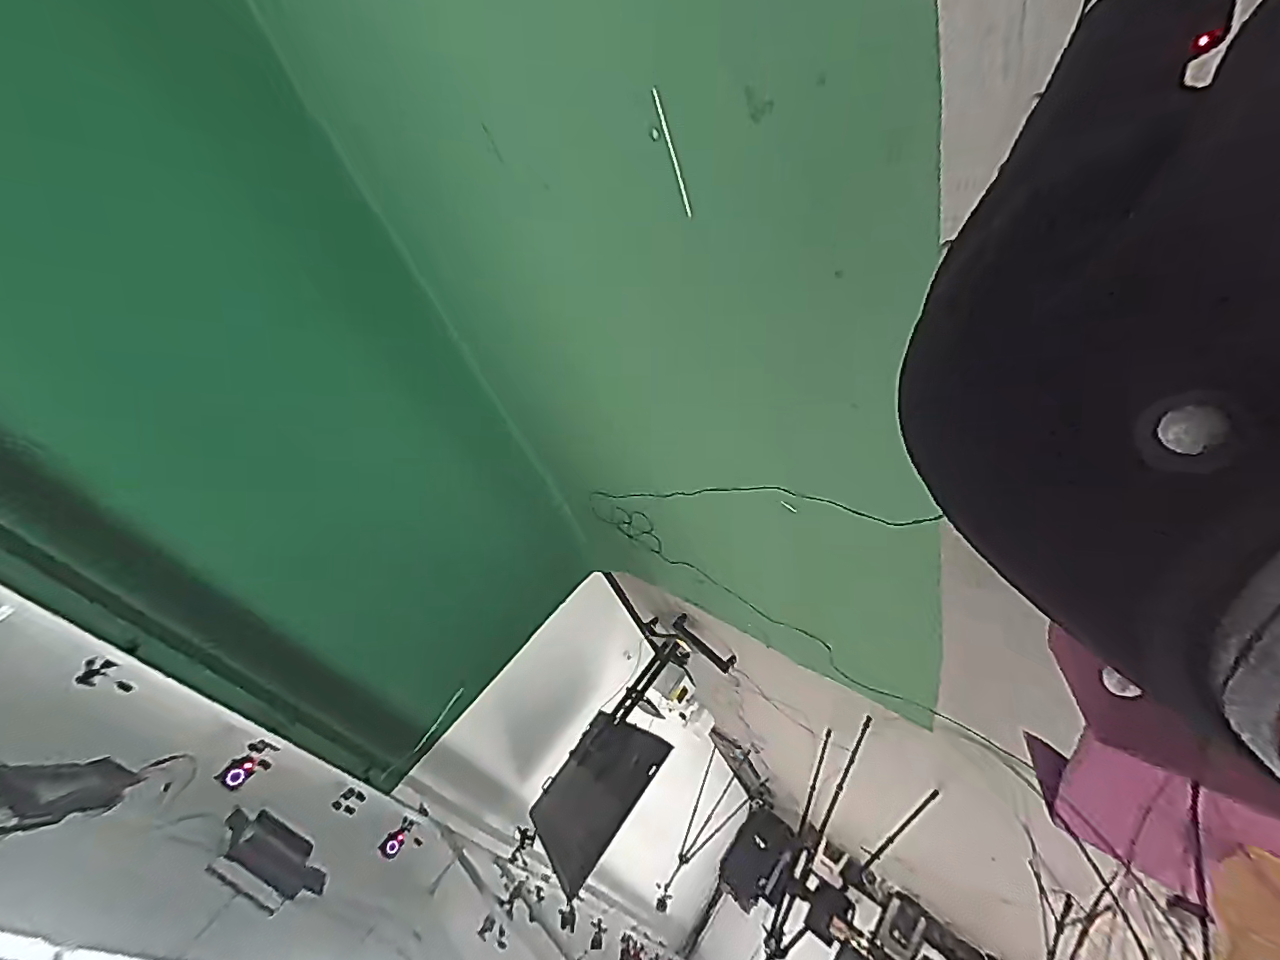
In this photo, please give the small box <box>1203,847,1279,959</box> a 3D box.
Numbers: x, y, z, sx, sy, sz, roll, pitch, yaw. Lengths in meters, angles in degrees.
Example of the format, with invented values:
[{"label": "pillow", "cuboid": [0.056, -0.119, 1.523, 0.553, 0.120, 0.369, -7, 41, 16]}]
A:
[{"label": "small box", "cuboid": [1.242, 0.851, 1.042, 0.168, 0.176, 0.179, 21, 148, 39]}]
